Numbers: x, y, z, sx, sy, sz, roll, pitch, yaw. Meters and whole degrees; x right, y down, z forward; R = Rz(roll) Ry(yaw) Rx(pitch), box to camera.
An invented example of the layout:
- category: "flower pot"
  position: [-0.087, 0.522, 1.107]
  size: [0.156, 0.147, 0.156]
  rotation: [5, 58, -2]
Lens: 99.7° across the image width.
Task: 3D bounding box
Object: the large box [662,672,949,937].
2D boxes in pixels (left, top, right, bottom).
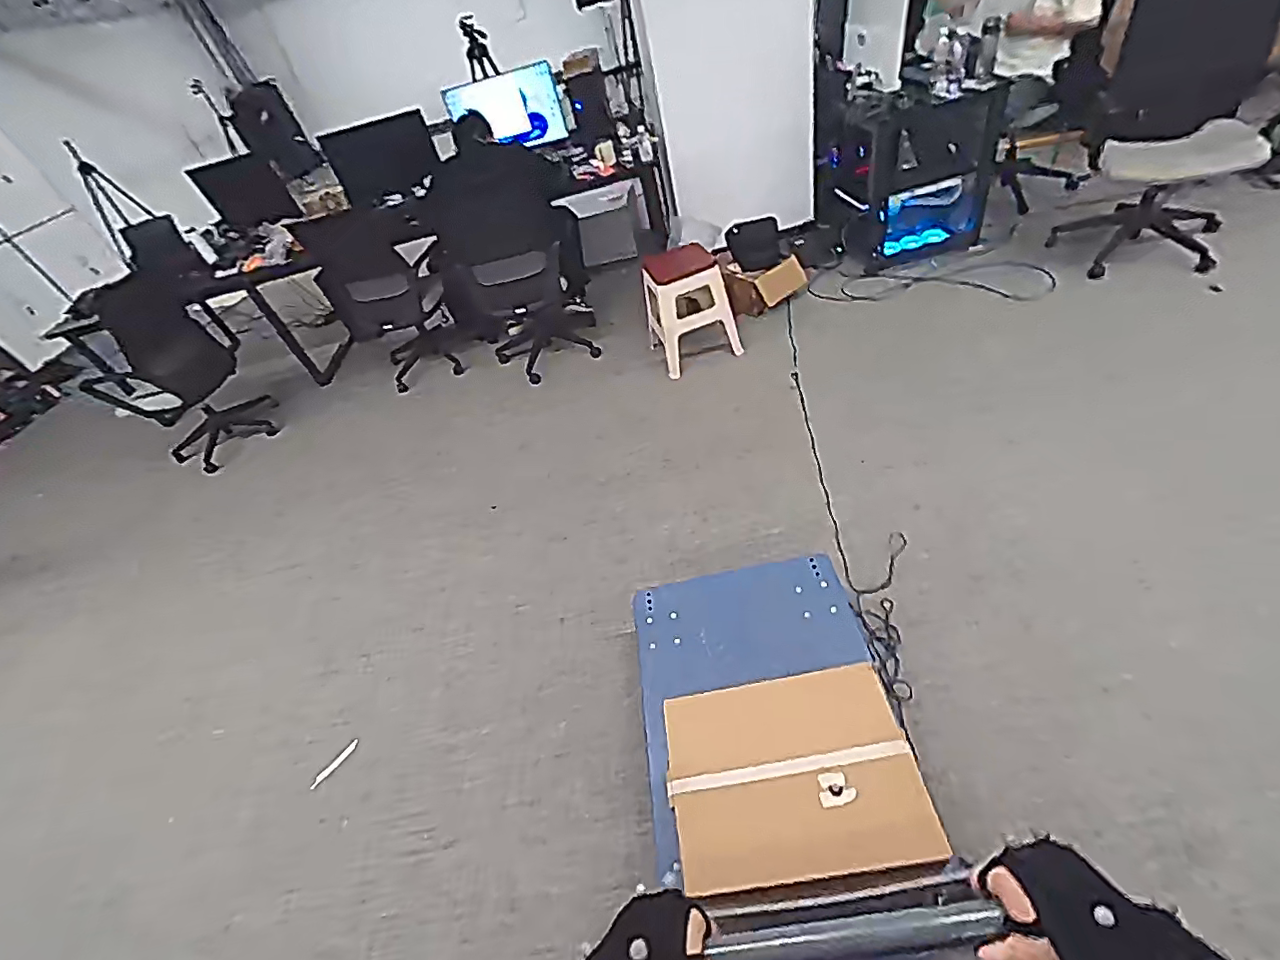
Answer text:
- category: "large box"
  position: [0.278, 0.608, 1.009]
  size: [0.408, 0.320, 0.320]
  rotation: [-12, 44, 5]
